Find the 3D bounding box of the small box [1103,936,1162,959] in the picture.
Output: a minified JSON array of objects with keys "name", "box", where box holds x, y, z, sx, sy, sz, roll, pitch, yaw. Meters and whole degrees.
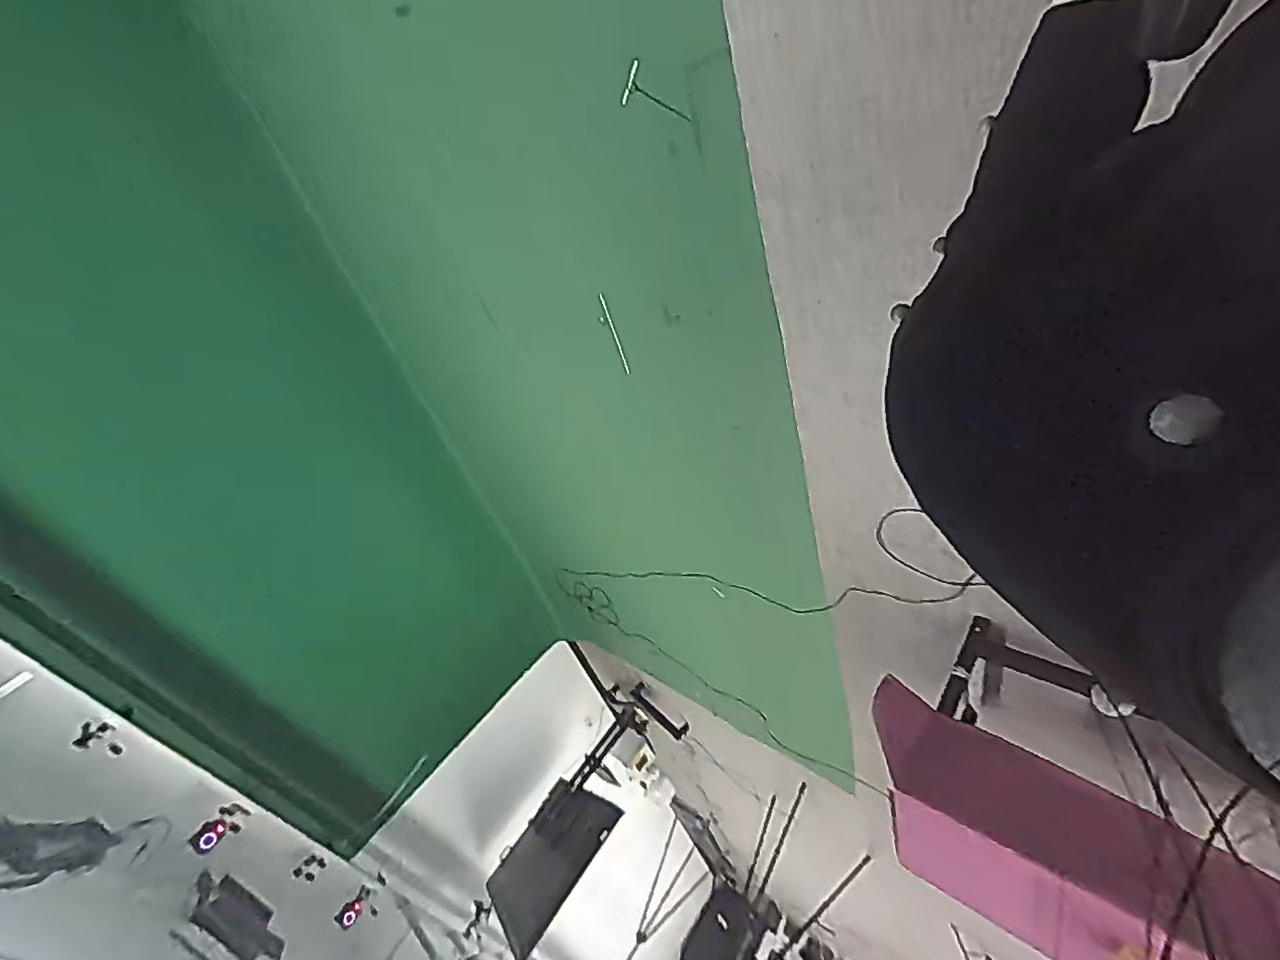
[{"name":"small box","box":[1.214,1.244,1.279,0.179,0.176,0.168,17,139,41]}]
